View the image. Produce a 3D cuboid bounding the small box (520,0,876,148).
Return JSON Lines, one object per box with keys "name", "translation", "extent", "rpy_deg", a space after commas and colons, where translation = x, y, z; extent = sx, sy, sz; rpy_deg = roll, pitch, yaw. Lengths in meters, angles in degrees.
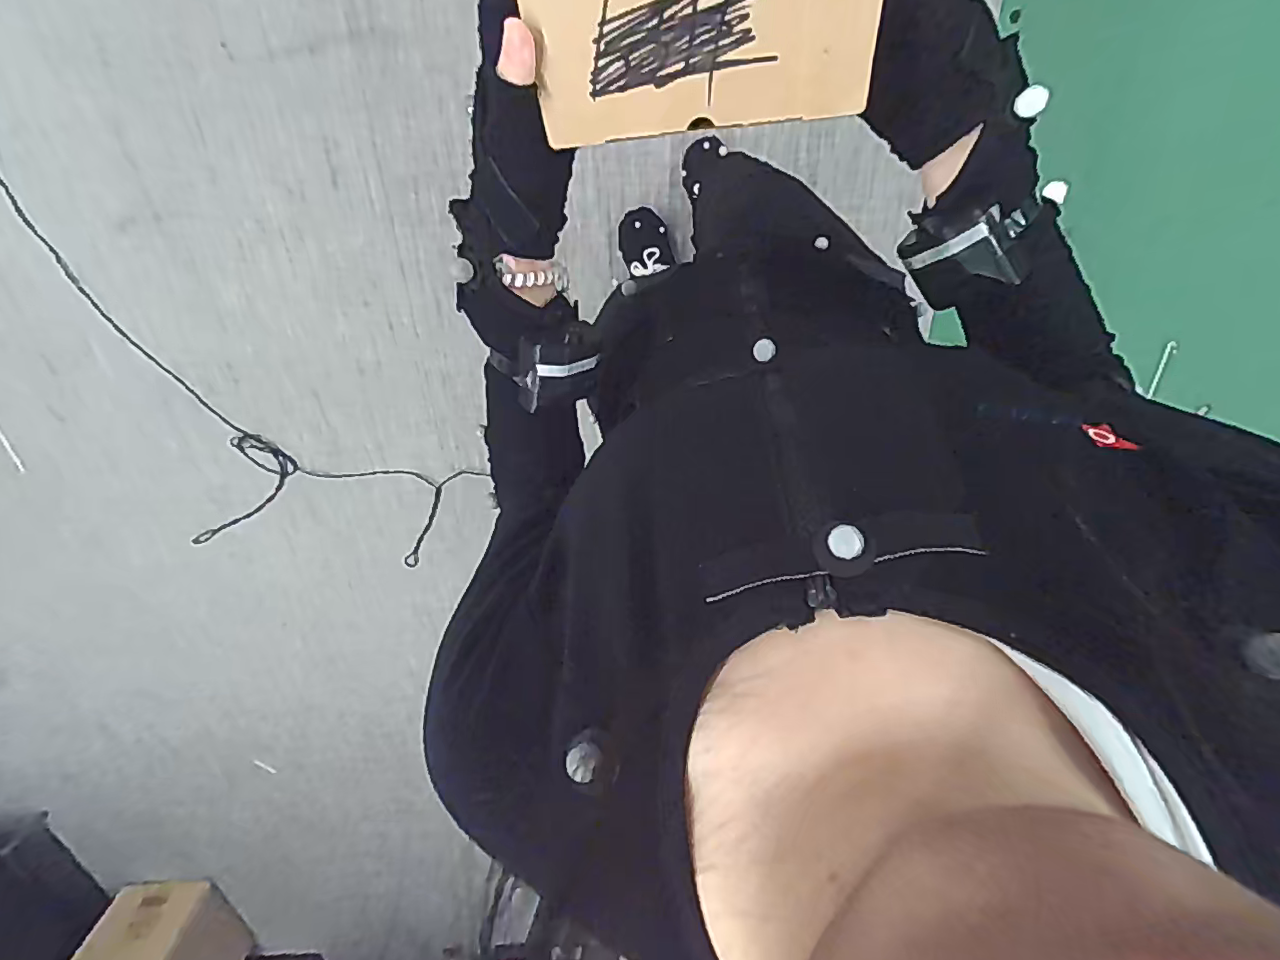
{"name": "small box", "translation": [0.027, -0.302, 0.275], "extent": [0.168, 0.176, 0.179], "rpy_deg": [-2, 138, 7]}
